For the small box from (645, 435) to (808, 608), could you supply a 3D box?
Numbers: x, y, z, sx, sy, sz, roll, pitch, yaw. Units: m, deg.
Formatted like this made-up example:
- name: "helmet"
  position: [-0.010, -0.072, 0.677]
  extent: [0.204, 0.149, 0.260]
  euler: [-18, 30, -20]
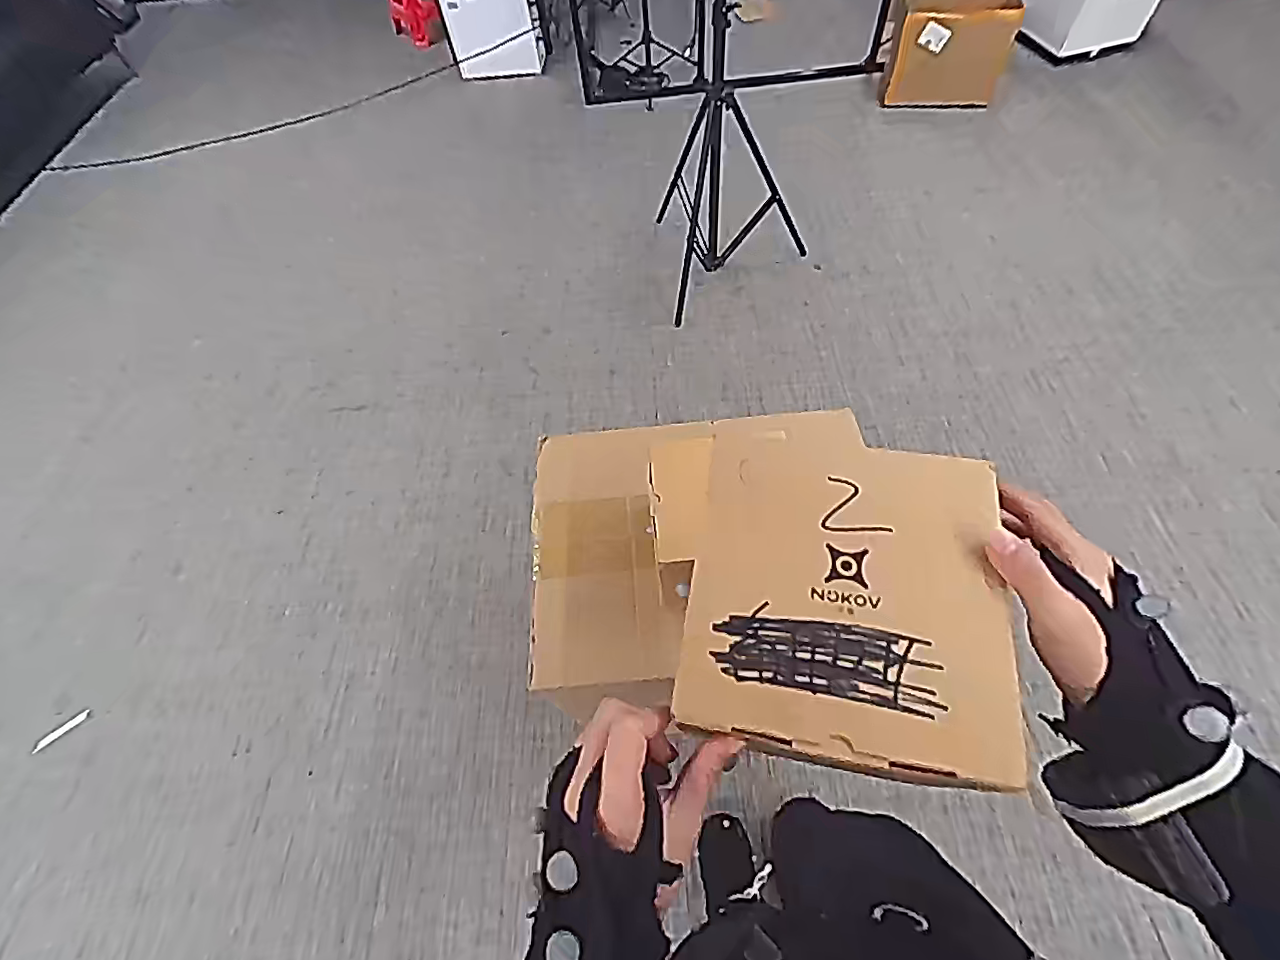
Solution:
- name: "small box"
  position: [0.102, 0.061, 0.708]
  extent: [0.179, 0.176, 0.168]
  euler: [-6, 59, 3]
